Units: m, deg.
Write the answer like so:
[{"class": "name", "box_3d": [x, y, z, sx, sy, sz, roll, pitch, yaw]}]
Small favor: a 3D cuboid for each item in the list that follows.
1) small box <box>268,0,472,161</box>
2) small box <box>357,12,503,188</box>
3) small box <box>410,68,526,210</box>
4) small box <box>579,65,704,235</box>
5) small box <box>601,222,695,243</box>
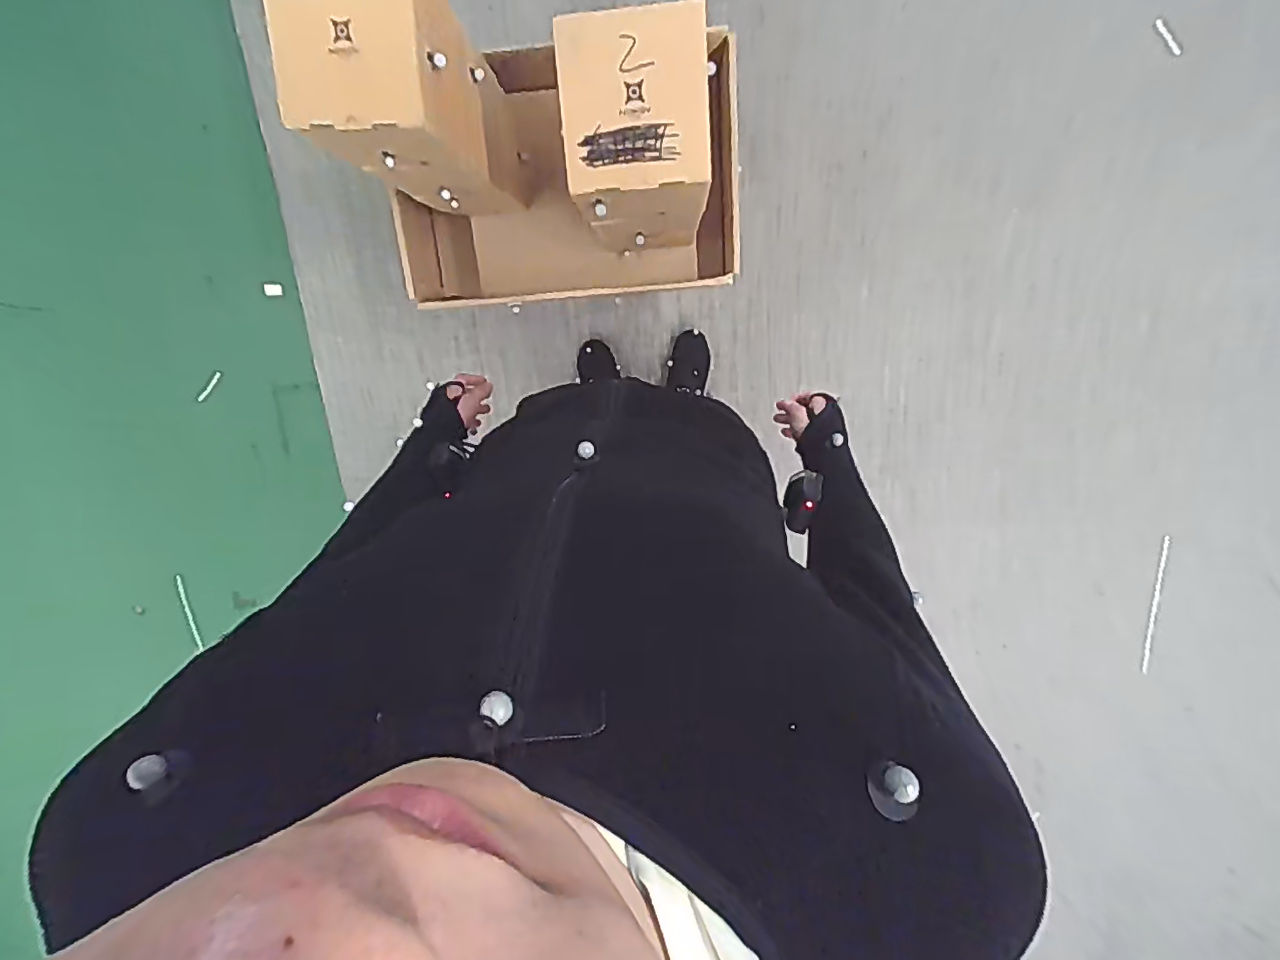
[{"class": "small box", "box_3d": [-0.316, -0.513, 0.660, 0.168, 0.176, 0.179, 1, 107, 2]}, {"class": "small box", "box_3d": [-0.313, -0.558, 0.815, 0.168, 0.176, 0.179, 0, 107, 3]}, {"class": "small box", "box_3d": [-0.309, -0.602, 0.973, 0.168, 0.176, 0.179, -1, 106, 2]}, {"class": "small box", "box_3d": [0.006, -0.488, 0.824, 0.168, 0.176, 0.179, -4, 106, 4]}, {"class": "small box", "box_3d": [0.013, -0.535, 0.979, 0.168, 0.176, 0.179, -4, 105, 3]}]
